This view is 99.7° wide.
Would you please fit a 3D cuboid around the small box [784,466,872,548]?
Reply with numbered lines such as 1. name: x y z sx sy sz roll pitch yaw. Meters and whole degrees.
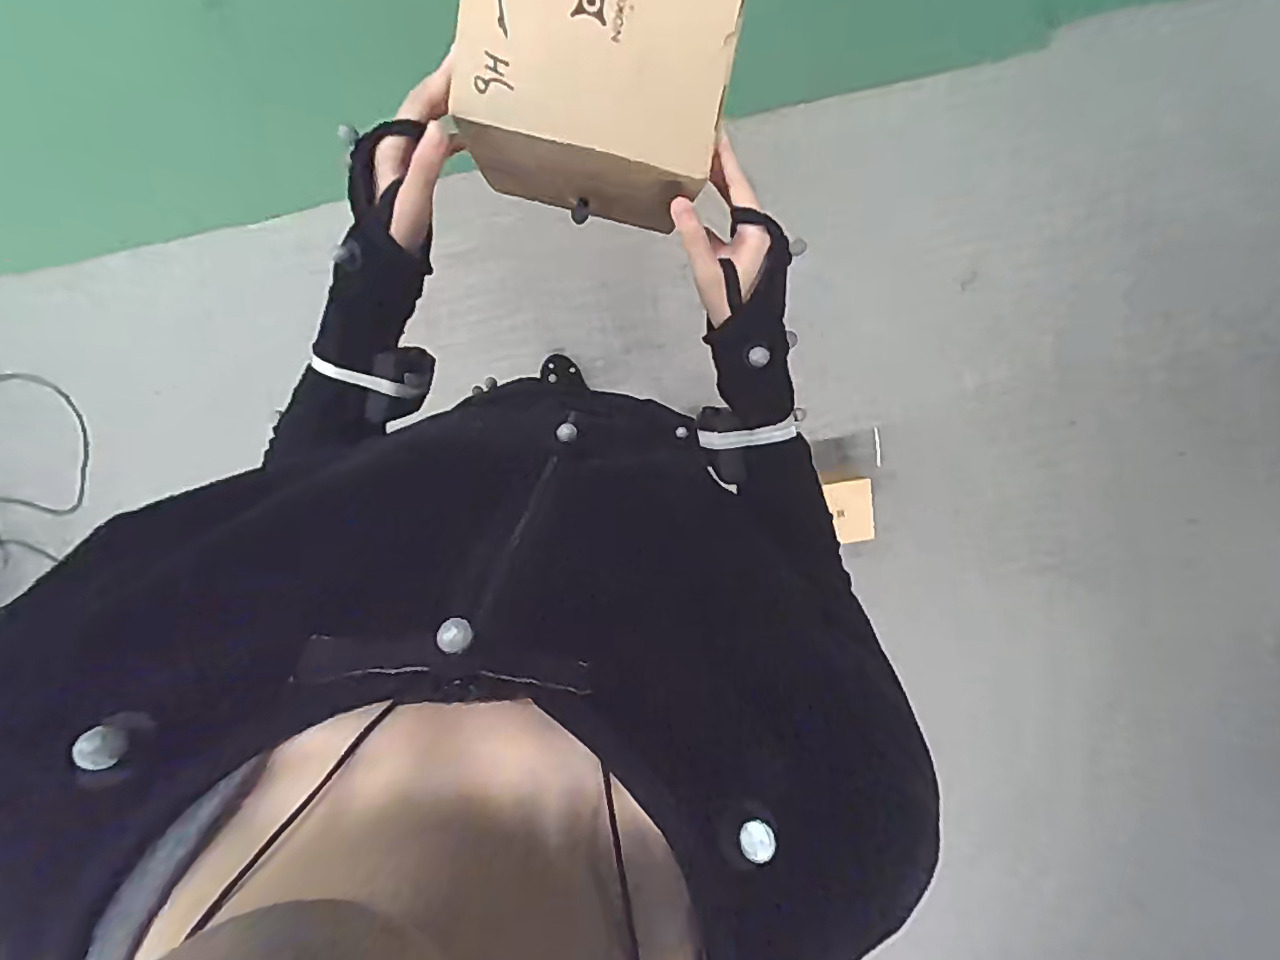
1. small box: 0.501 0.067 1.452 0.179 0.176 0.168 -8 103 3
